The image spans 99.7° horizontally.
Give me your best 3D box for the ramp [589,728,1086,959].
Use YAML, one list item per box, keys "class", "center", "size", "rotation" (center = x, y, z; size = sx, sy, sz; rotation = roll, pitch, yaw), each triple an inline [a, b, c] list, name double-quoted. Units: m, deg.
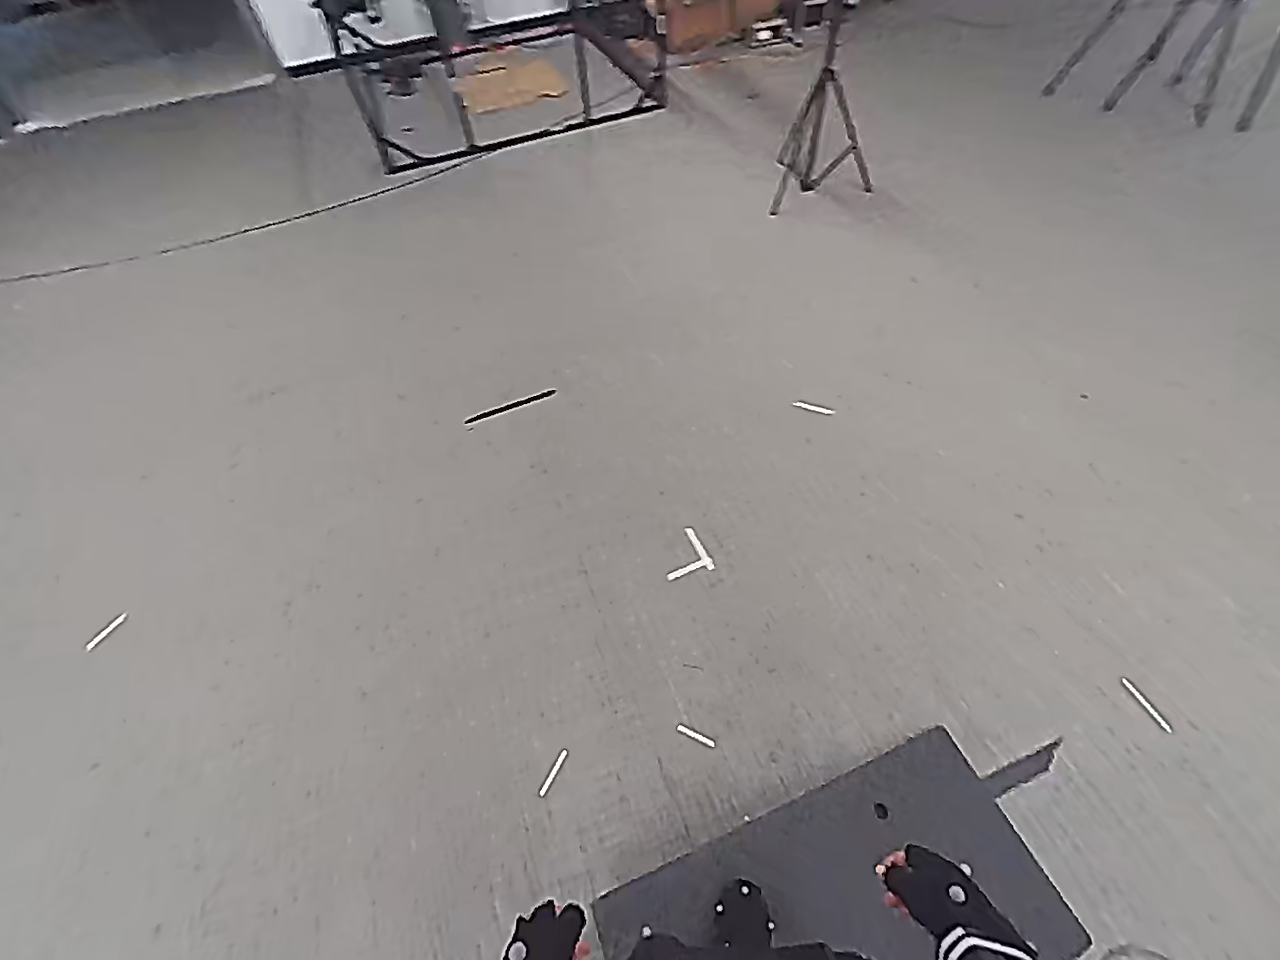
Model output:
- class: "ramp"
  center: [0.435, 0.959, 1.168]
  size: [0.991, 0.206, 0.509]
  rotation: [-22, 54, -11]
